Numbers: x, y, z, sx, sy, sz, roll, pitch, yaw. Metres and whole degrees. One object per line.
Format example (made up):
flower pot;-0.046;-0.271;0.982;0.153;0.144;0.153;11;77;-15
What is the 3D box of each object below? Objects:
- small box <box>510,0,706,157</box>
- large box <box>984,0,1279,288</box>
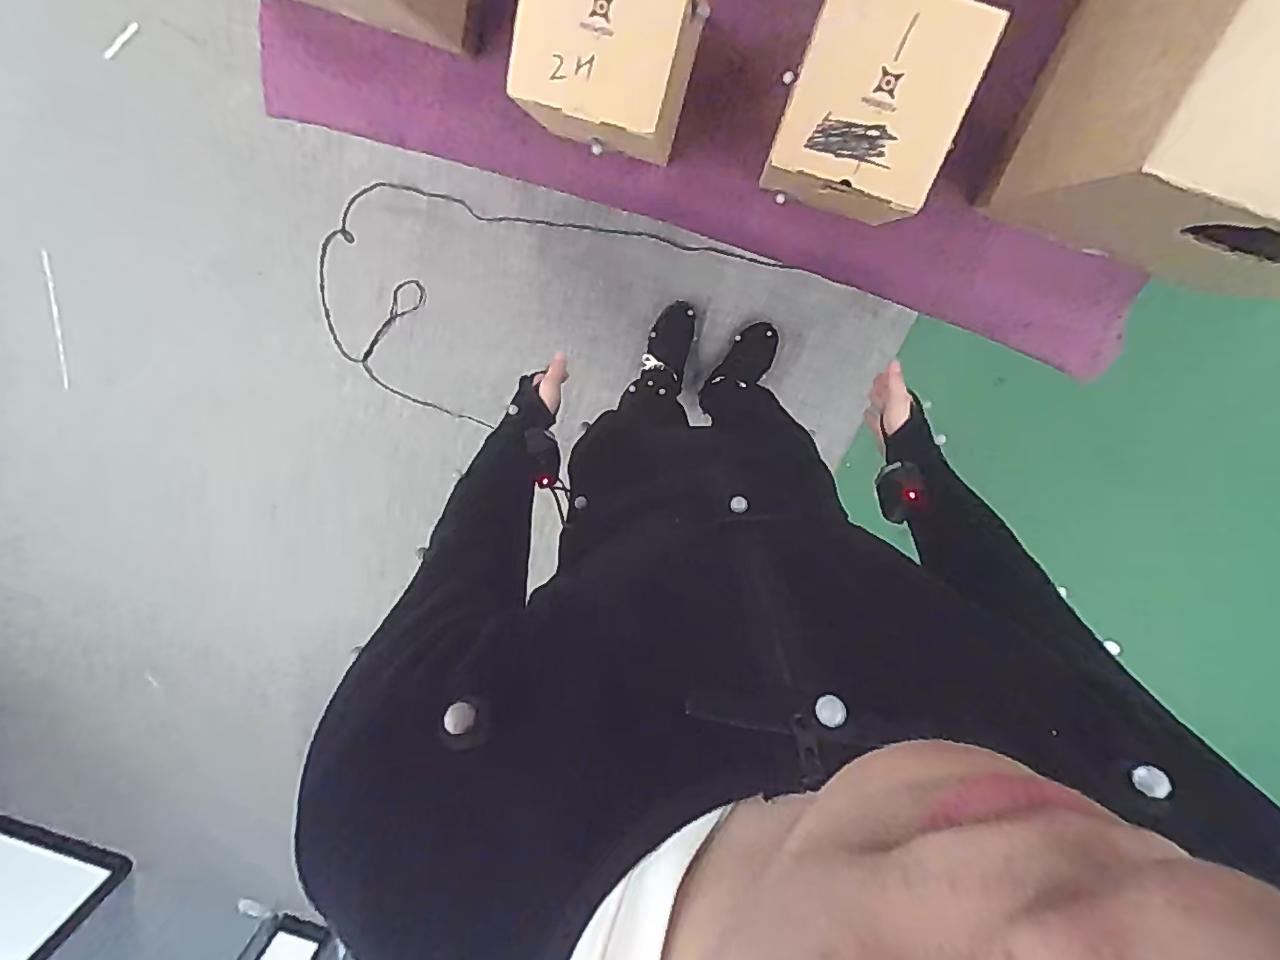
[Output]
small box;-0.026;-0.491;0.603;0.168;0.176;0.179;17;113;1
large box;0.612;-0.415;0.473;0.320;0.320;0.408;20;114;1
